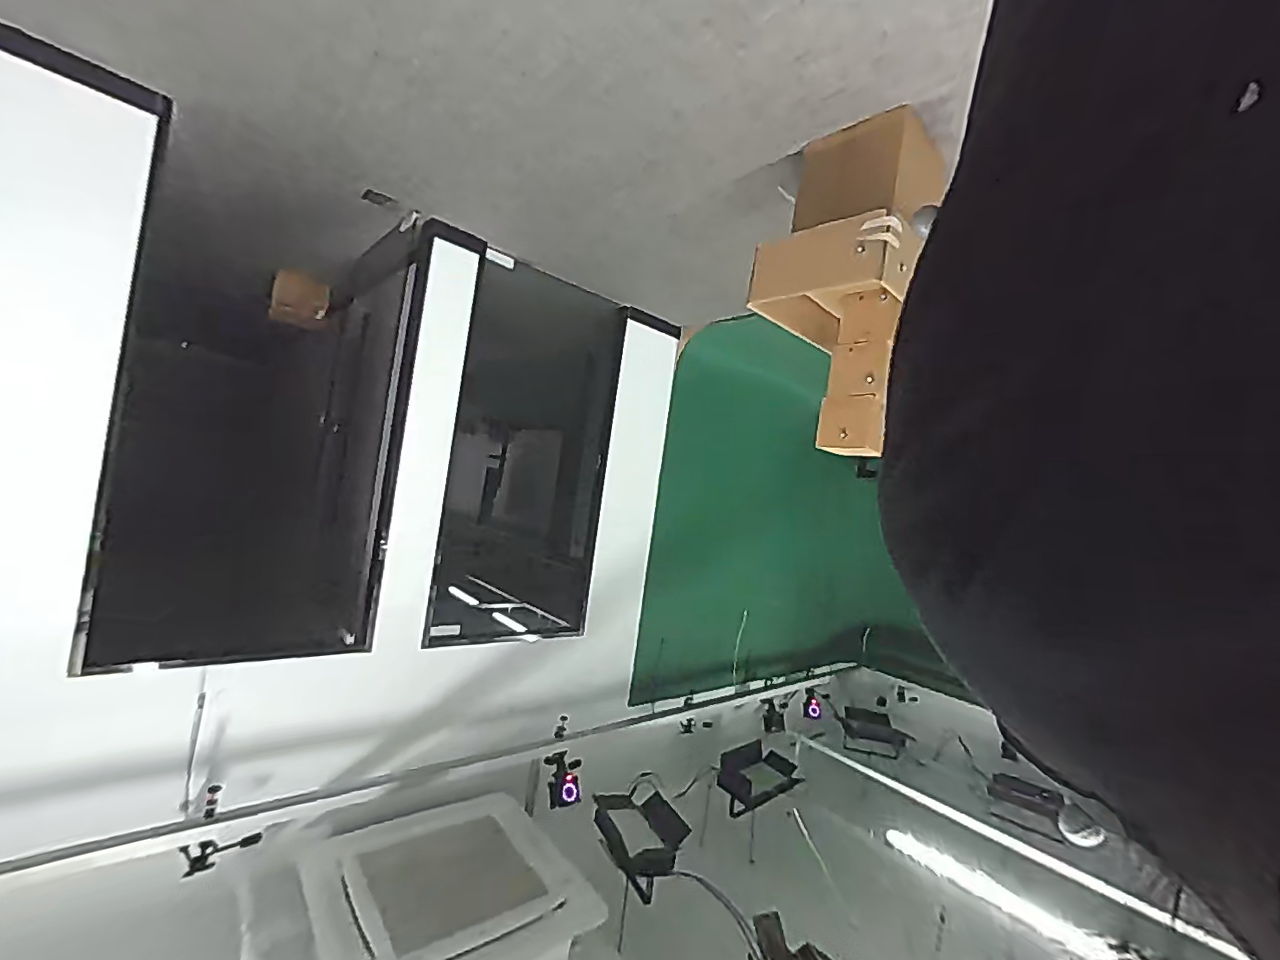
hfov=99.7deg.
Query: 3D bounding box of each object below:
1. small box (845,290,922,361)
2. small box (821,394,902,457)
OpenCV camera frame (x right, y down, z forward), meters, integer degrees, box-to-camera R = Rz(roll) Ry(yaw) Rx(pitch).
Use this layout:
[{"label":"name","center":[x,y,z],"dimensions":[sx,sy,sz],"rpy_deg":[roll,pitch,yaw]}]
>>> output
[{"label":"small box","center":[0.775,-0.492,1.717],"dimensions":[0.179,0.176,0.168],"rpy_deg":[11,178,-44]},{"label":"small box","center":[0.707,-0.172,1.721],"dimensions":[0.168,0.176,0.179],"rpy_deg":[10,178,-41]}]
